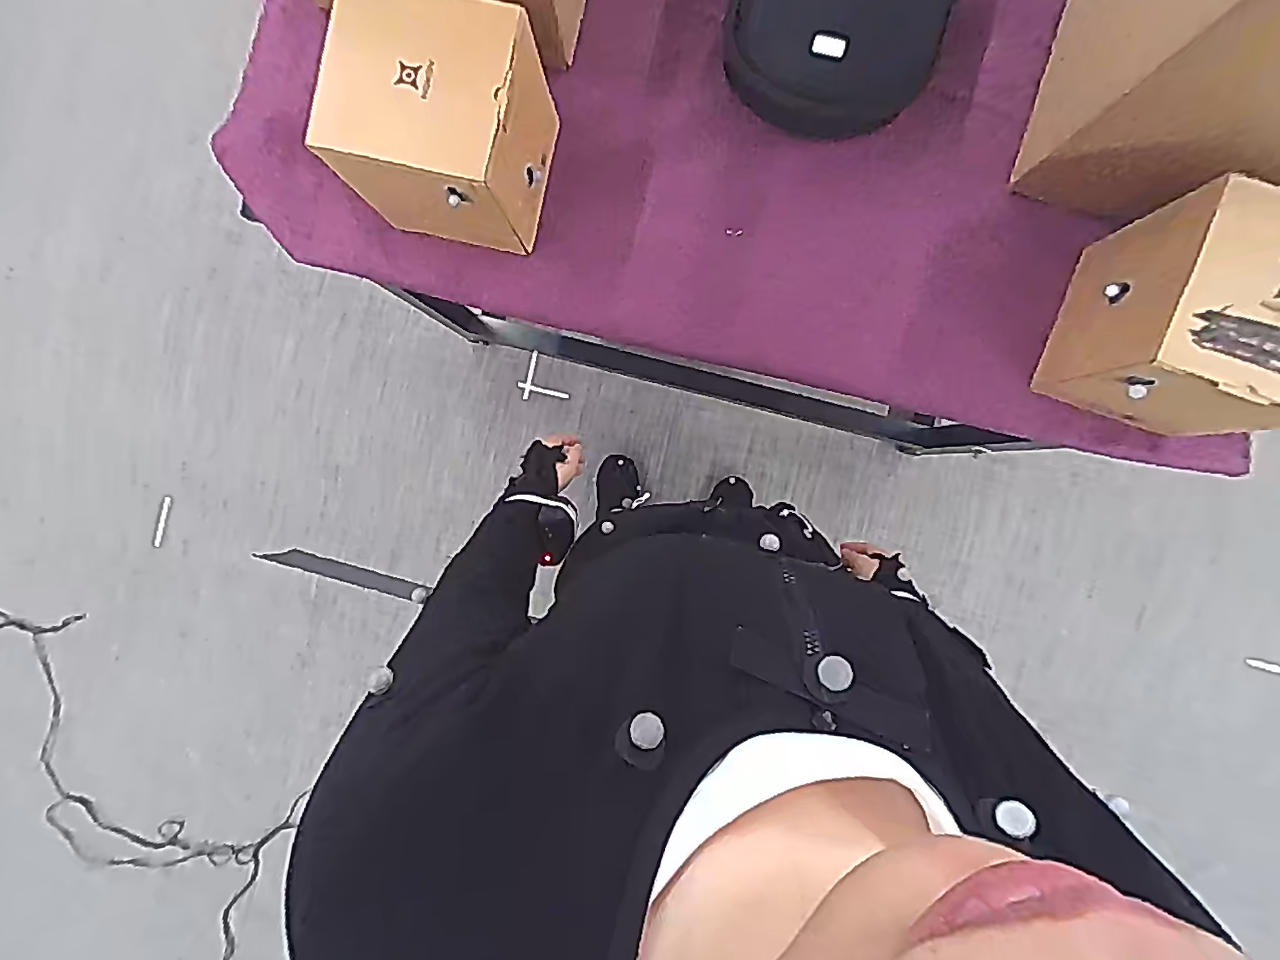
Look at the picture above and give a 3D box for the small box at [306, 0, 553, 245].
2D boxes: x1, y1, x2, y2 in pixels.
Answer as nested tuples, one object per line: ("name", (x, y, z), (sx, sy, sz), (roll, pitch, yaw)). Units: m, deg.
("small box", (-0.206, -0.374, 0.575), (0.179, 0.176, 0.168), (12, 91, 1))
